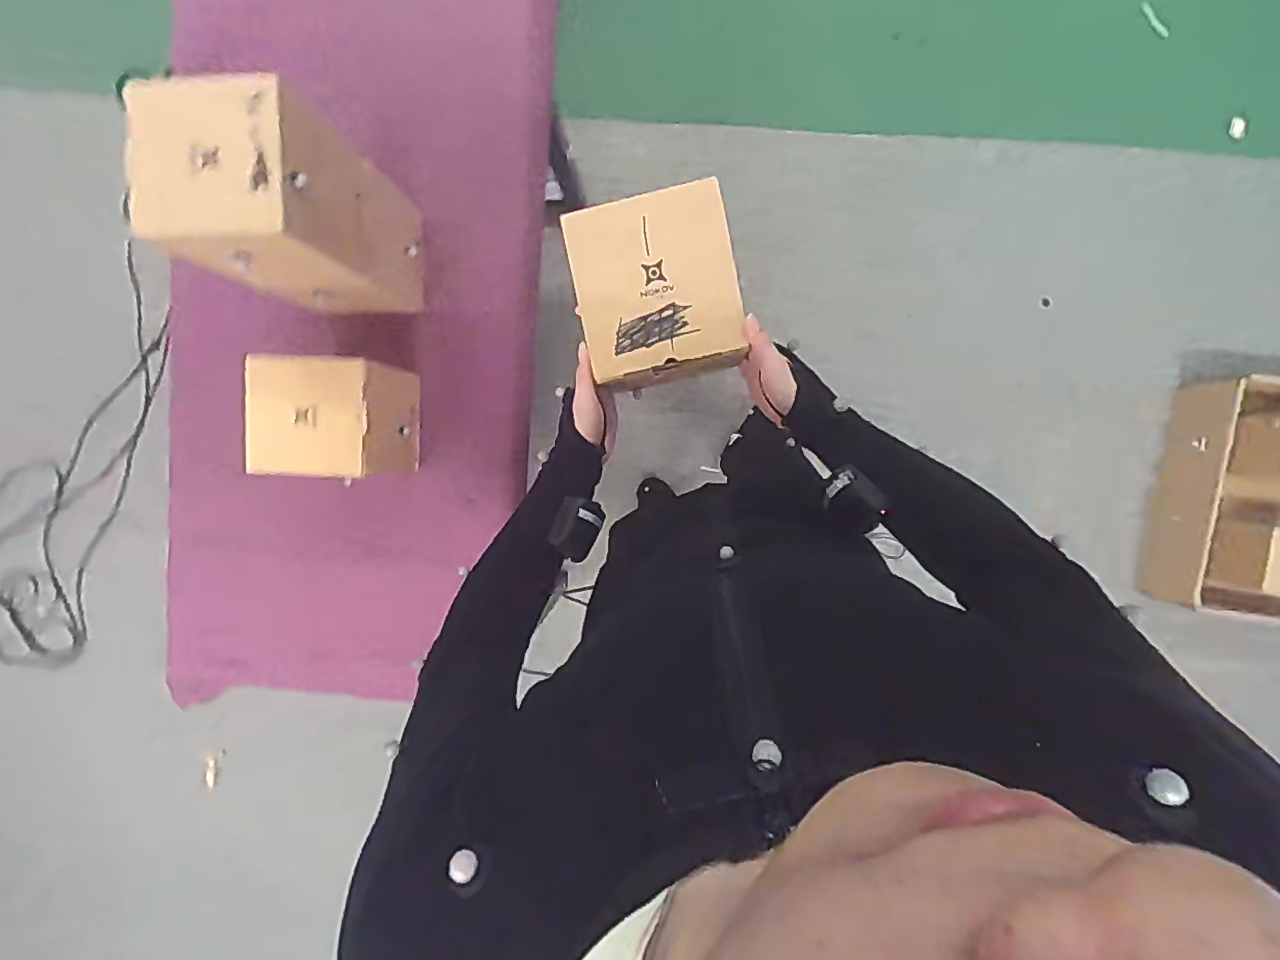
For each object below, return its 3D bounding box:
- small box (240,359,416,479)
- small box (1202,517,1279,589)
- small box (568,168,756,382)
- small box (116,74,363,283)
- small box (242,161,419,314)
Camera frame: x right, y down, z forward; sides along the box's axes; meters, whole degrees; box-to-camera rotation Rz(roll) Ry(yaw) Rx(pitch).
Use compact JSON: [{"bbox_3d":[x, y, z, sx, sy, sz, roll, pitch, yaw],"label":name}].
[{"bbox_3d":[-0.469,-0.088,0.832,0.179,0.176,0.168,1,93,2],"label":"small box"},{"bbox_3d":[1.656,0.195,1.417,0.179,0.176,0.168,8,92,2],"label":"small box"},{"bbox_3d":[0.029,-0.213,0.619,0.168,0.176,0.179,-11,94,5],"label":"small box"},{"bbox_3d":[-0.466,-0.345,0.652,0.179,0.176,0.168,-1,93,4],"label":"small box"},{"bbox_3d":[-0.457,-0.353,0.816,0.179,0.176,0.168,0,93,3],"label":"small box"}]
